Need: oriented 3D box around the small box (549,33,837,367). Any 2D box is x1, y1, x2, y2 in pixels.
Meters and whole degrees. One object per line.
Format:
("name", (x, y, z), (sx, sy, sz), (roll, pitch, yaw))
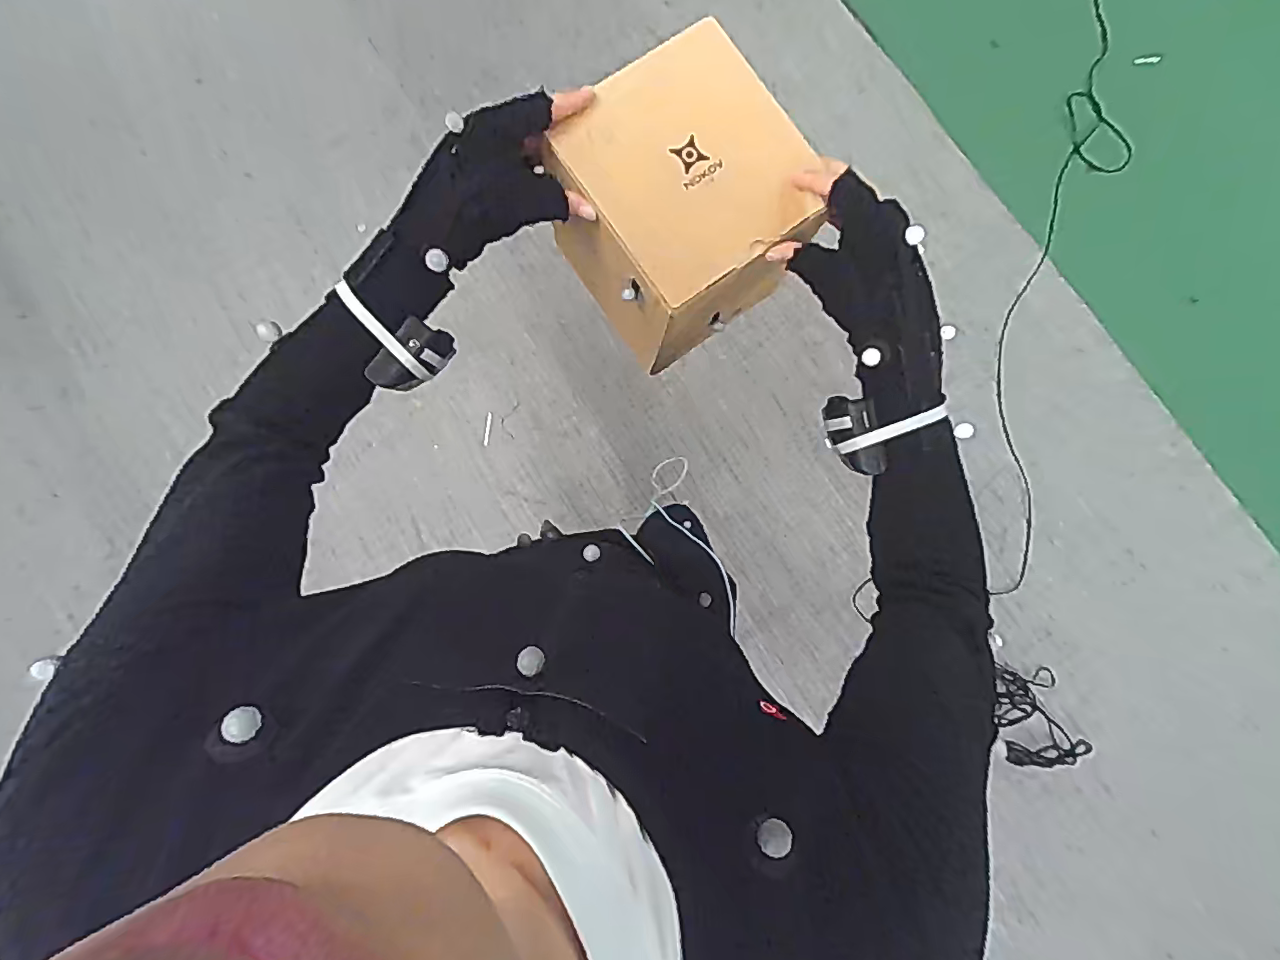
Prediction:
("small box", (0.035, -0.233, 0.496), (0.168, 0.176, 0.179), (-35, 89, -7))
